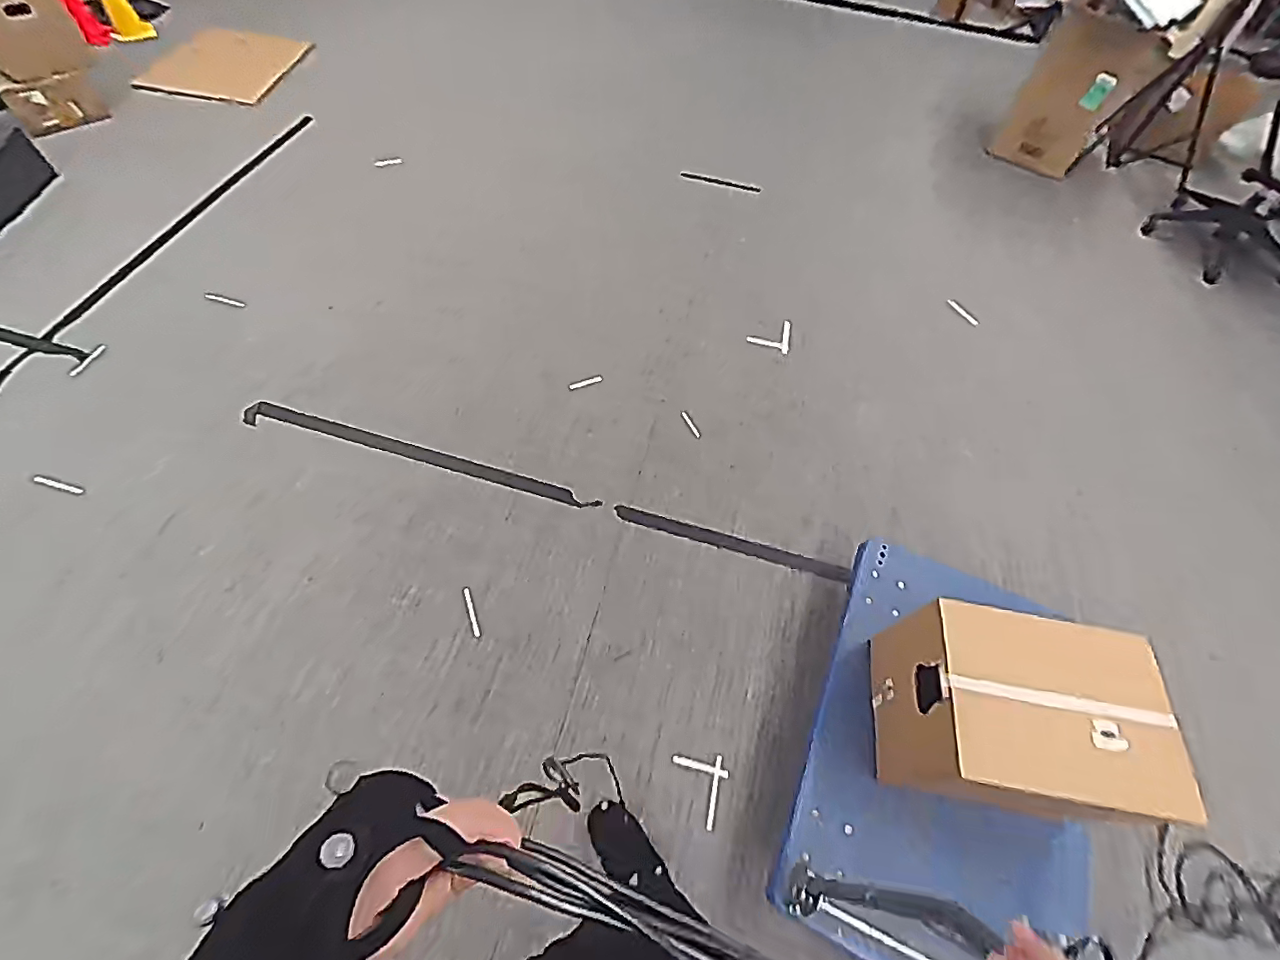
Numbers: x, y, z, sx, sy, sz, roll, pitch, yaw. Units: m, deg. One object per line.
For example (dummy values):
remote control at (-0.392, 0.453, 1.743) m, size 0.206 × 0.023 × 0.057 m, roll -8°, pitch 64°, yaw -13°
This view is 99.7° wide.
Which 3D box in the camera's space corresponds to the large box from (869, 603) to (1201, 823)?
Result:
large box at (0.728, 0.472, 1.082) m, size 0.408 × 0.320 × 0.320 m, roll 11°, pitch 59°, yaw 1°
